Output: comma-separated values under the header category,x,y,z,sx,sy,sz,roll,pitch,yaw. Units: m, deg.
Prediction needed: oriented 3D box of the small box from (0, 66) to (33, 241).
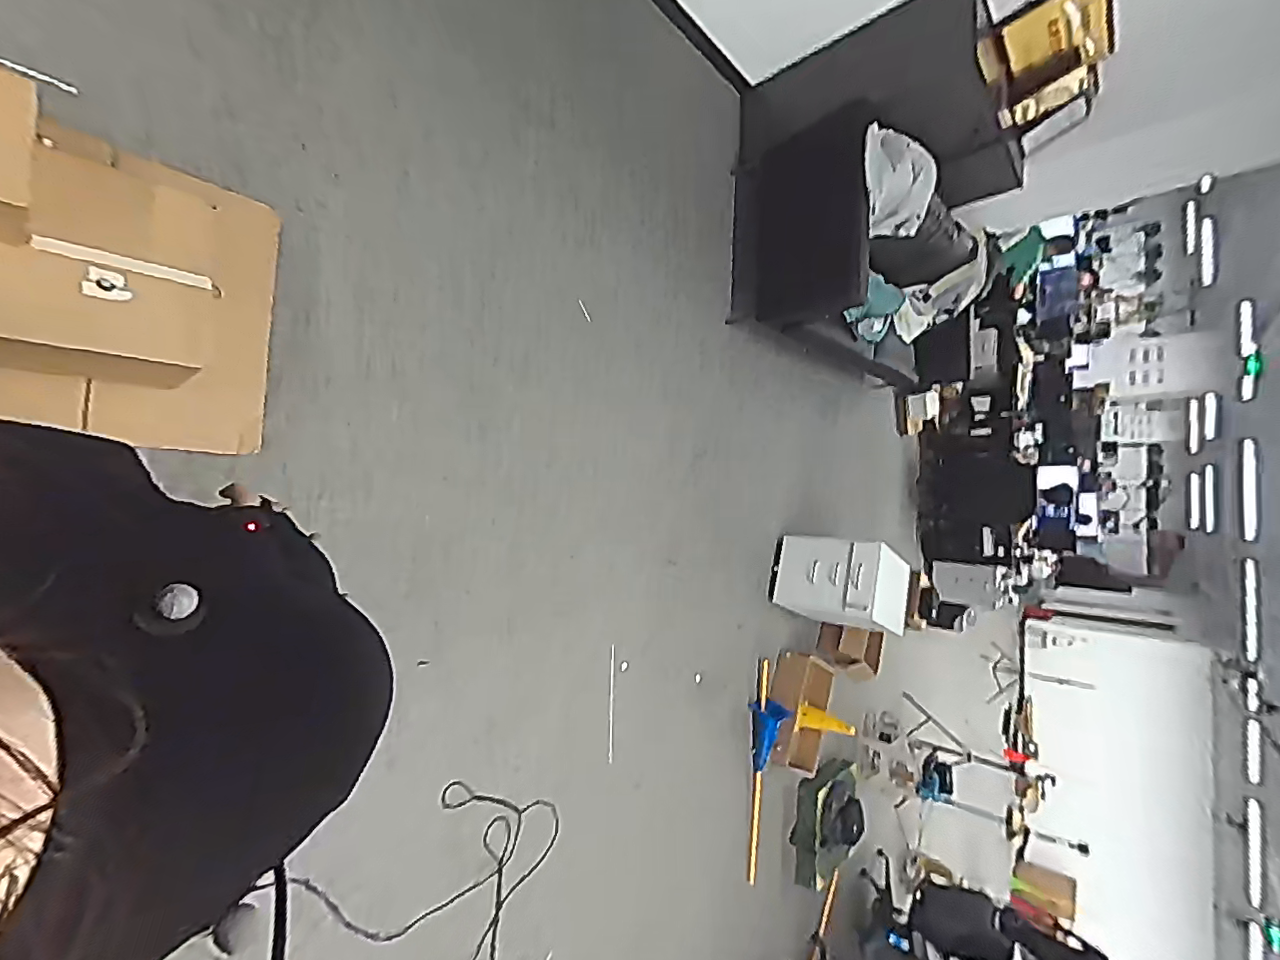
category,x,y,z,sx,sy,sz,roll,pitch,yaw
small box,-0.913,-0.443,0.700,0.168,0.176,0.179,1,88,-48

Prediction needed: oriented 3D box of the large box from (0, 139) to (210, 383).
category,x,y,z,sx,sy,sz,roll,pitch,yaw
large box,-1.034,-0.367,0.930,0.408,0.320,0.320,4,87,-50
